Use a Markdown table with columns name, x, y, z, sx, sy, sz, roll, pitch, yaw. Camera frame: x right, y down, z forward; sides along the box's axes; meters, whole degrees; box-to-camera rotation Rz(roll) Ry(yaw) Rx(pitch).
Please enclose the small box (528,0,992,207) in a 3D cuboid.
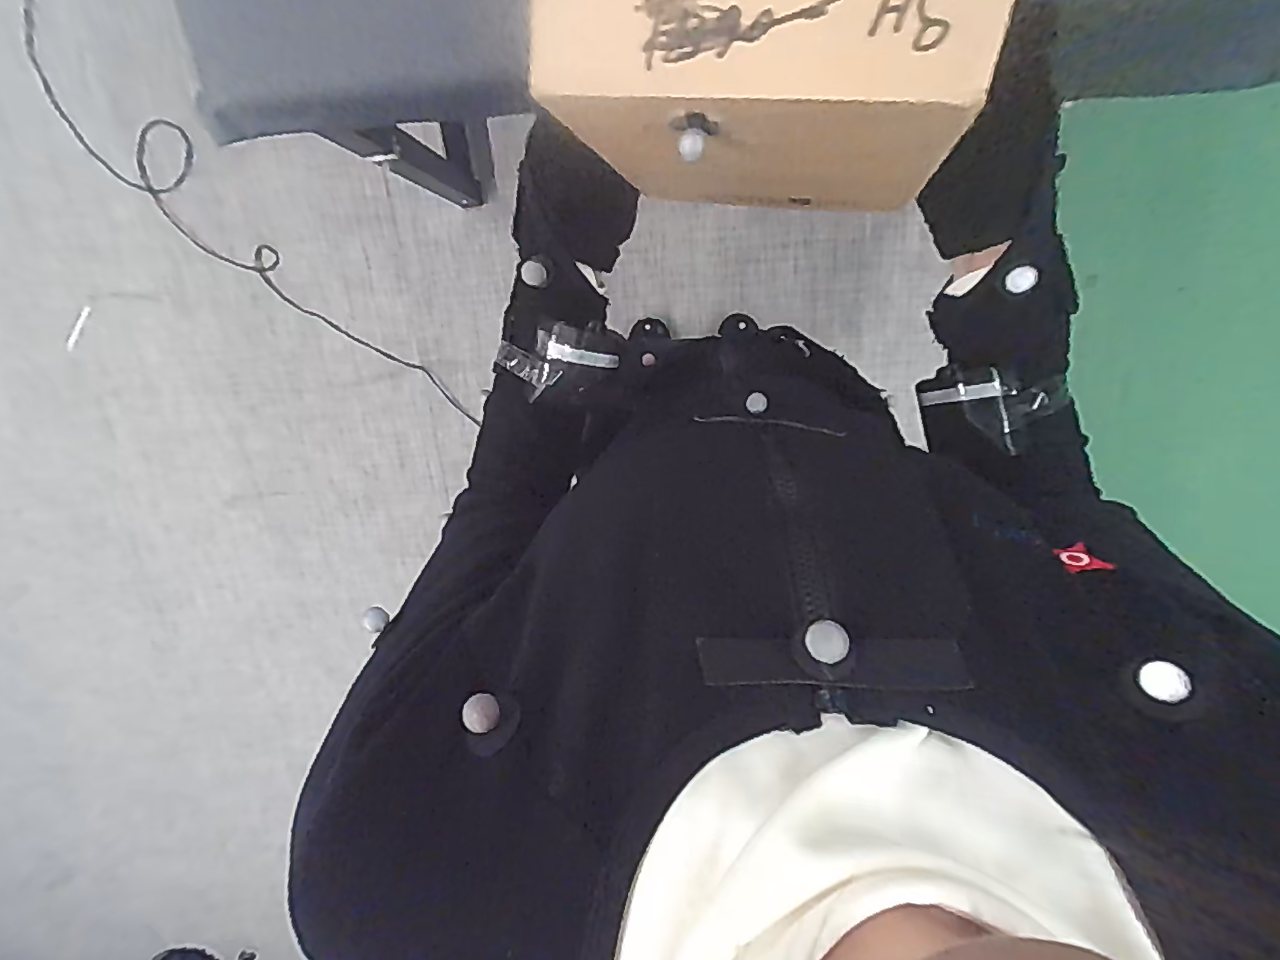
| name | x | y | z | sx | sy | sz | roll | pitch | yaw |
| --- | --- | --- | --- | --- | --- | --- | --- | --- | --- |
| small box | 0.067 | -0.247 | 0.249 | 0.168 | 0.176 | 0.179 | 13 | 107 | 14 |
